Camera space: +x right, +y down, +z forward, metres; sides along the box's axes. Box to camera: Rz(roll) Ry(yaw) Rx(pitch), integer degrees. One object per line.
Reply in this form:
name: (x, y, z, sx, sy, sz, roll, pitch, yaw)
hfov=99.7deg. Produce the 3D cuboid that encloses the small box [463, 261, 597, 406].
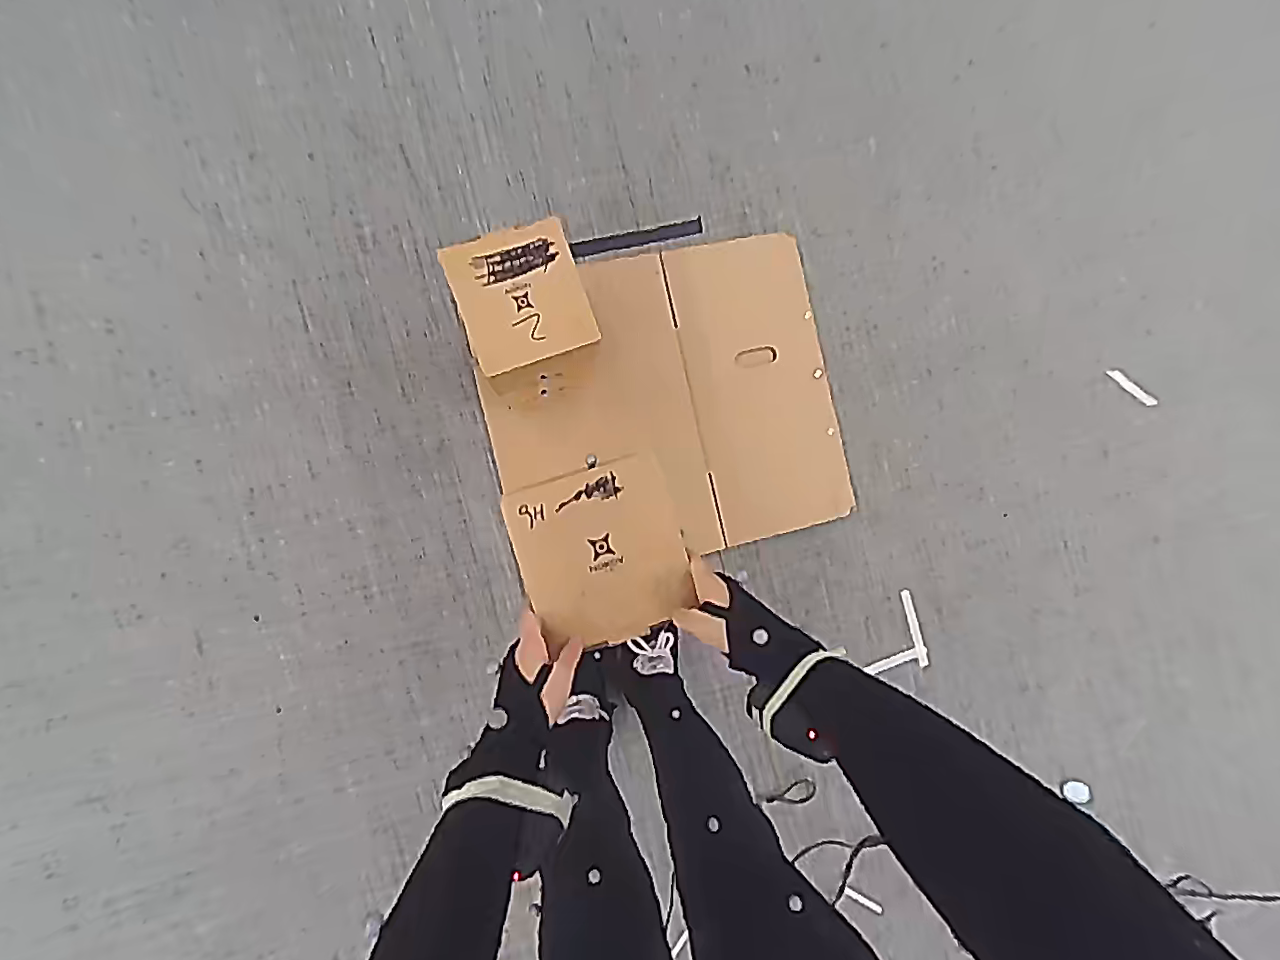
small box: (-0.188, -0.245, 0.944, 0.168, 0.176, 0.179, -23, 94, -8)

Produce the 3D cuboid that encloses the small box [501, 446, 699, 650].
small box: (-0.047, 0.065, 0.626, 0.168, 0.176, 0.179, -17, 94, -7)
